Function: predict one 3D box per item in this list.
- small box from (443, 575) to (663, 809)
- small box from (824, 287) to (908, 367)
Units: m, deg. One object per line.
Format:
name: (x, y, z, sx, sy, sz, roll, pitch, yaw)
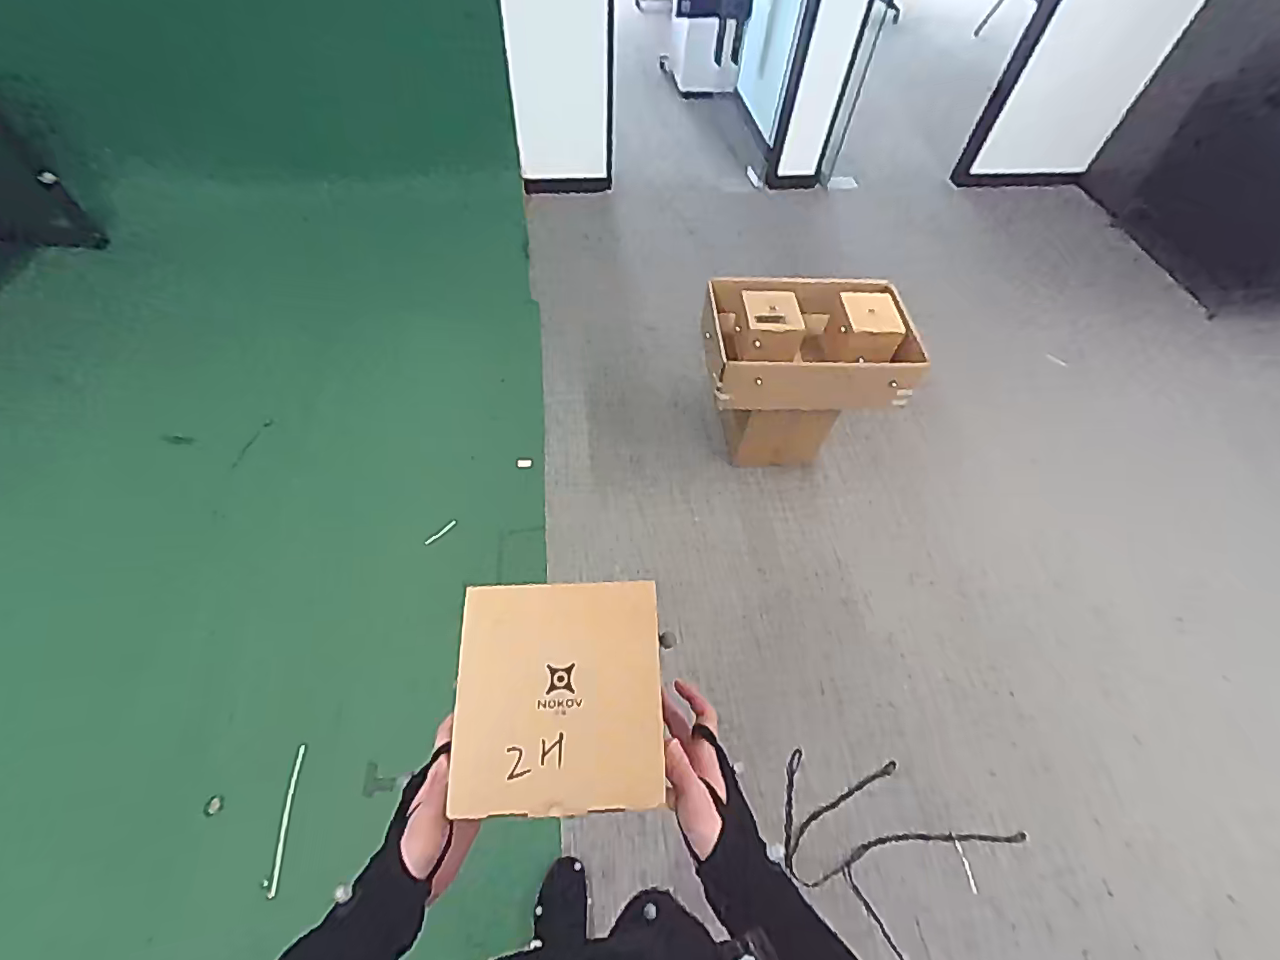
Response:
small box: (-0.066, 0.197, 0.507, 0.168, 0.176, 0.179, -2, 65, 0)
small box: (0.695, -0.476, 1.687, 0.168, 0.176, 0.179, 0, 57, -4)
